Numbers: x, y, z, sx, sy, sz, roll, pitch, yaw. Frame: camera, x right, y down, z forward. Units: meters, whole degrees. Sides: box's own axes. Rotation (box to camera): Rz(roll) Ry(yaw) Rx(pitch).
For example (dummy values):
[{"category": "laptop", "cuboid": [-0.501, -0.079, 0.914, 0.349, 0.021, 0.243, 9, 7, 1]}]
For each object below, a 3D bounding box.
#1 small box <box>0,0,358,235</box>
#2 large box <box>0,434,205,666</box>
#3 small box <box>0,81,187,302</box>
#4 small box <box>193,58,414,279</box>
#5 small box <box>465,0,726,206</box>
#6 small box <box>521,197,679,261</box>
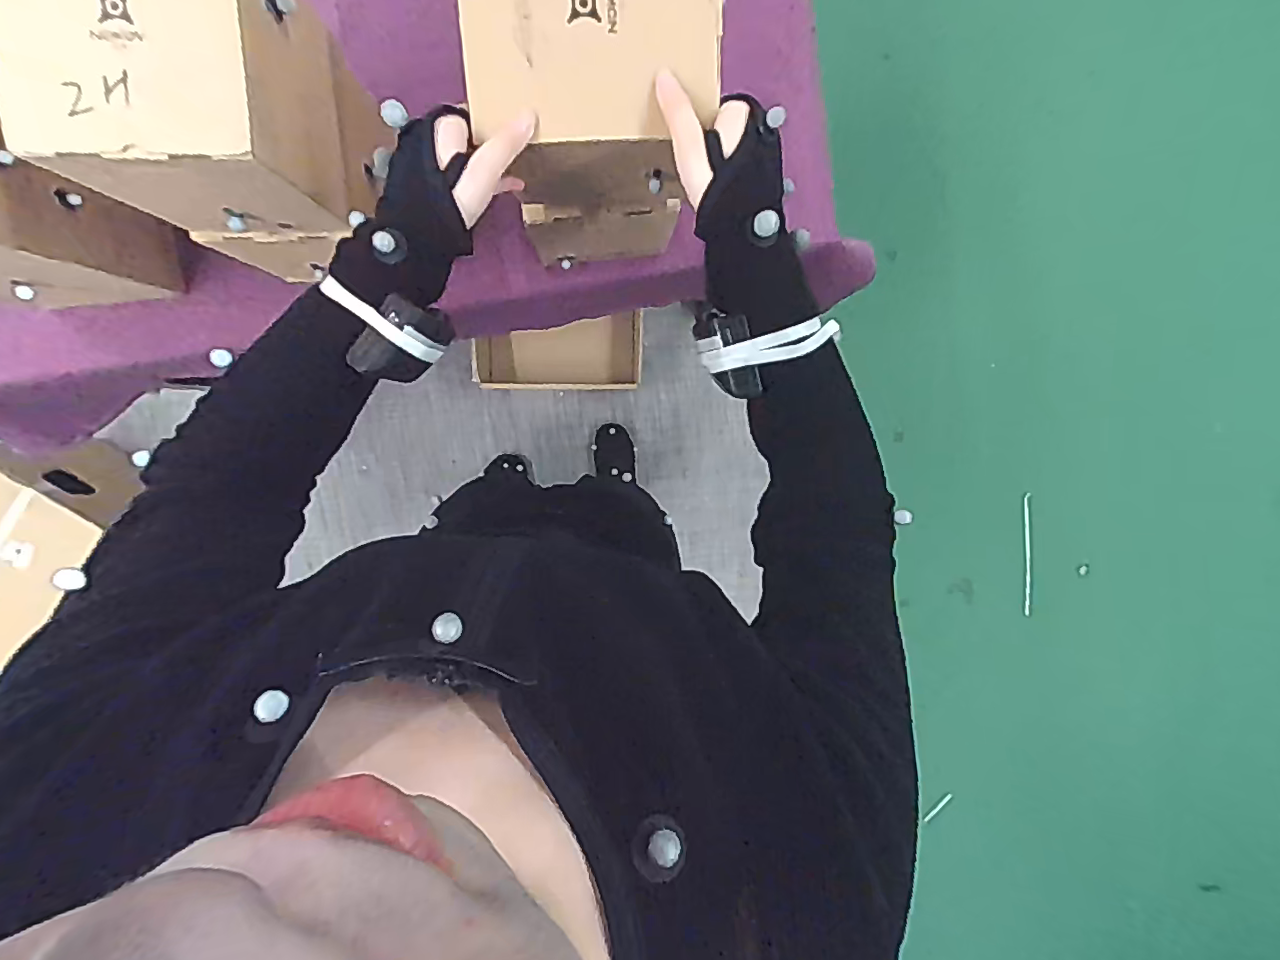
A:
[{"category": "small box", "cuboid": [-0.358, -0.324, 0.451, 0.168, 0.176, 0.179, 0, 99, -3]}, {"category": "large box", "cuboid": [-1.370, 0.141, 1.278, 0.320, 0.320, 0.408, 35, 93, -9]}, {"category": "small box", "cuboid": [-0.665, -0.300, 0.597, 0.179, 0.176, 0.168, -6, 99, -3]}, {"category": "small box", "cuboid": [-0.371, -0.339, 0.615, 0.168, 0.176, 0.179, -1, 99, -4]}, {"category": "small box", "cuboid": [-0.031, -0.333, 0.439, 0.179, 0.176, 0.168, -2, 103, 0]}, {"category": "small box", "cuboid": [-0.050, -0.366, 0.630, 0.168, 0.176, 0.179, -6, 97, -3]}]
